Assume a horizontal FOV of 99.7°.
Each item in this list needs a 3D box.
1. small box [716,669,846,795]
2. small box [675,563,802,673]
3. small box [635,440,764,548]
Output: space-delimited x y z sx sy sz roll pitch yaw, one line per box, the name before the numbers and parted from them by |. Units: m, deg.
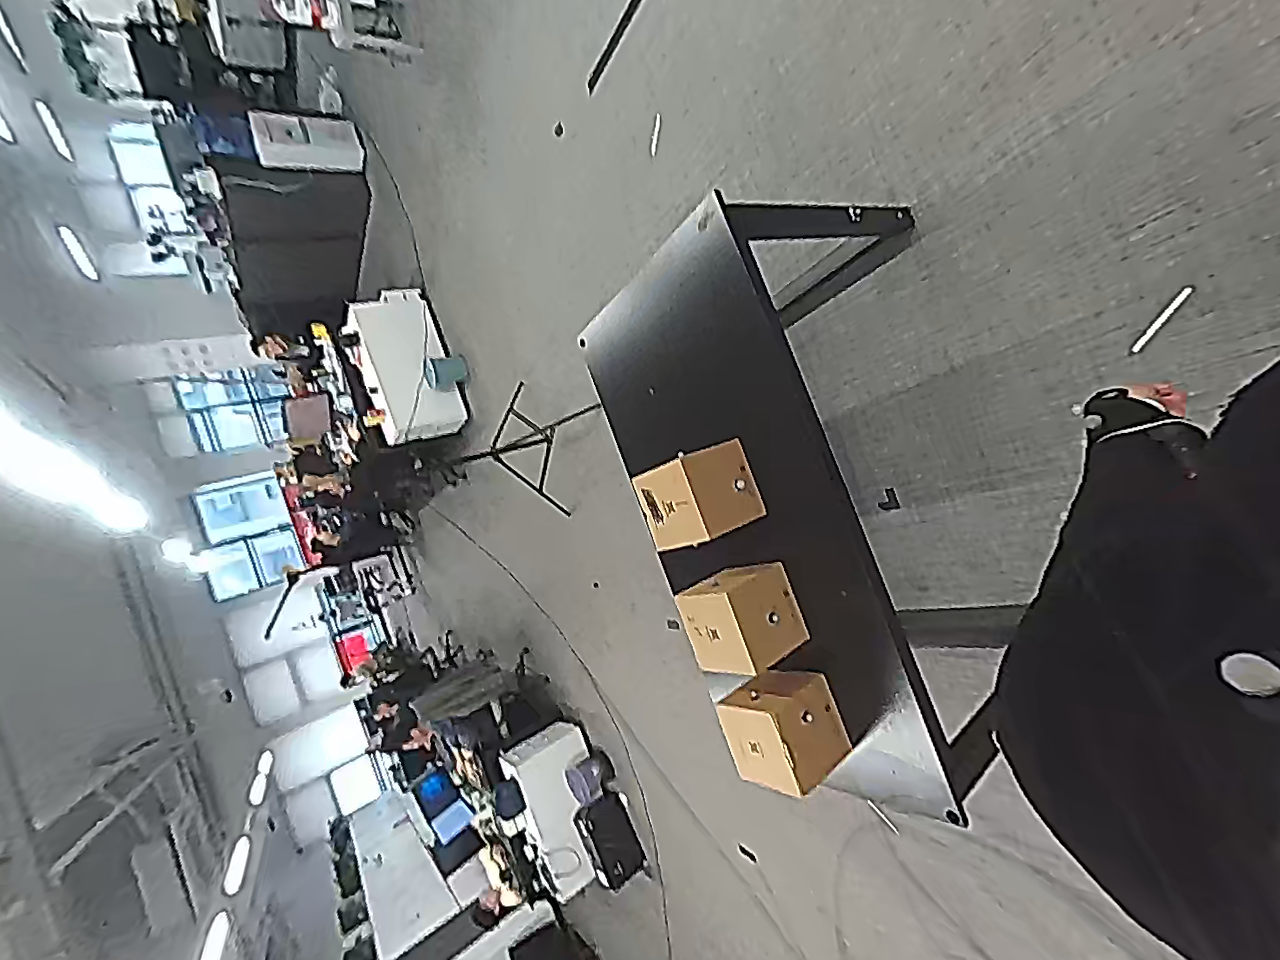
small box | 0.294 0.504 1.112 0.179 0.176 0.168 -26 83 57
small box | 0.209 0.281 1.120 0.179 0.176 0.168 -24 85 56
small box | 0.122 0.030 1.123 0.179 0.176 0.168 -24 86 56
